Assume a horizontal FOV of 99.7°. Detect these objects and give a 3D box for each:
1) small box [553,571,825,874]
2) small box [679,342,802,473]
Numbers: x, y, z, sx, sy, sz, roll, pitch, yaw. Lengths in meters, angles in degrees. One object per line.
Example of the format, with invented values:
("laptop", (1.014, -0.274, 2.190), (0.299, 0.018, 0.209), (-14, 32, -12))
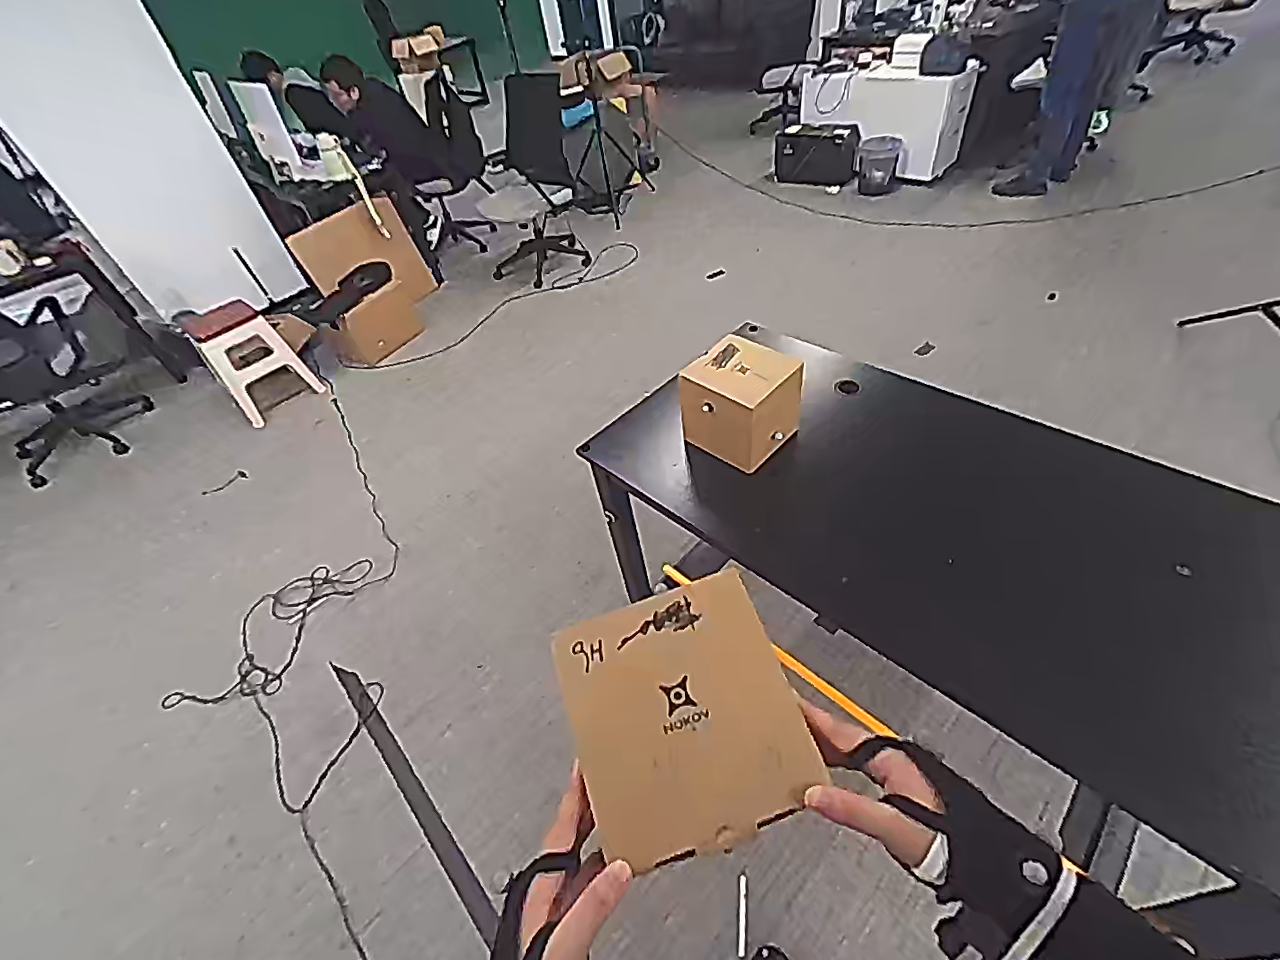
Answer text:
("small box", (0.038, 0.209, 0.485), (0.168, 0.176, 0.179), (-19, 63, -4))
("small box", (0.198, -0.143, 1.079), (0.179, 0.176, 0.168), (32, 59, 33))
